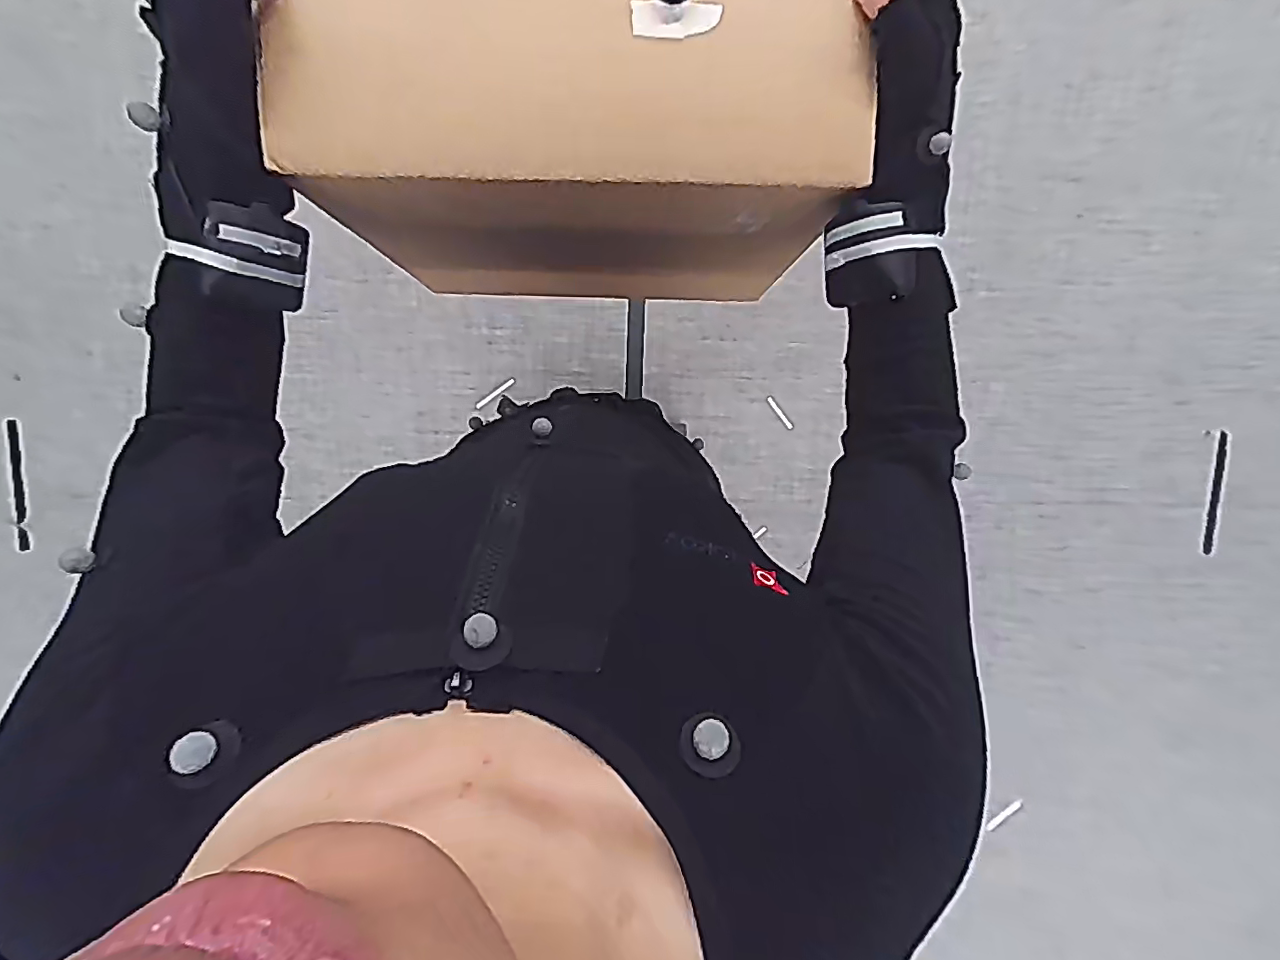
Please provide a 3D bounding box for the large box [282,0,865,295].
[{"bbox_3d":[-0.048,-0.374,0.514,0.408,0.320,0.320,0,95,-2],"label":"large box"}]

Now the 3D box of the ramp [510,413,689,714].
[{"bbox_3d":[-0.111,0.292,1.621,0.509,0.206,0.991,-1,99,-2],"label":"ramp"}]
